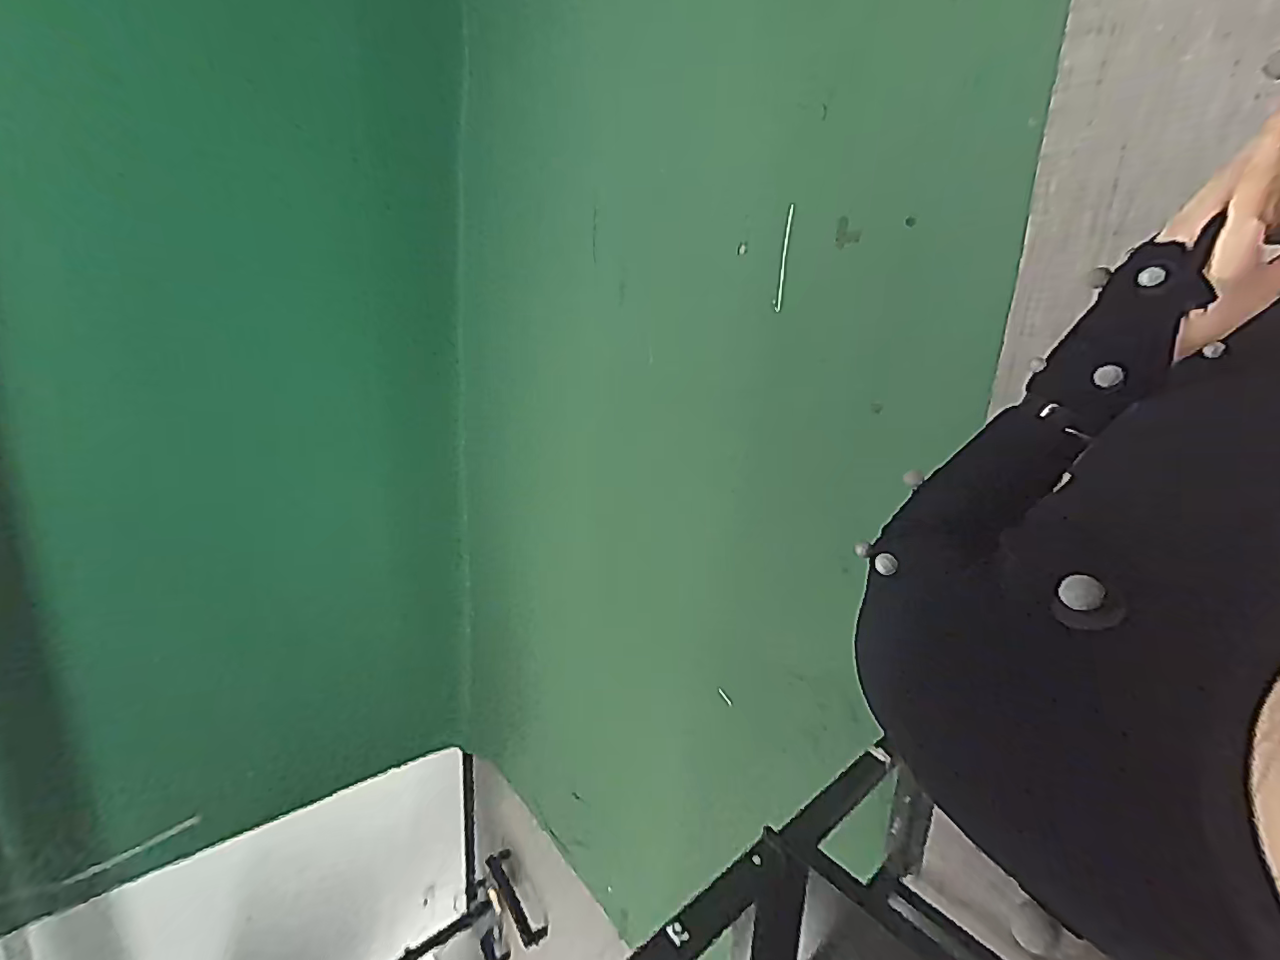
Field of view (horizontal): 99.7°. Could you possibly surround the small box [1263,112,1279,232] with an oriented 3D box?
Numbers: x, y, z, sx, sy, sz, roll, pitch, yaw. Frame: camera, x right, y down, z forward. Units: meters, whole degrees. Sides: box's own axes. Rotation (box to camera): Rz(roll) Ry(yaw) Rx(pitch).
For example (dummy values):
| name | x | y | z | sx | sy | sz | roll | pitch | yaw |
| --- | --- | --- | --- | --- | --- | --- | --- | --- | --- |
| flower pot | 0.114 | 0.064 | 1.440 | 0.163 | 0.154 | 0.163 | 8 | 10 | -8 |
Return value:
| name | x | y | z | sx | sy | sz | roll | pitch | yaw |
| --- | --- | --- | --- | --- | --- | --- | --- | --- | --- |
| small box | 0.418 | -0.214 | 0.229 | 0.179 | 0.176 | 0.168 | 17 | 107 | 44 |
